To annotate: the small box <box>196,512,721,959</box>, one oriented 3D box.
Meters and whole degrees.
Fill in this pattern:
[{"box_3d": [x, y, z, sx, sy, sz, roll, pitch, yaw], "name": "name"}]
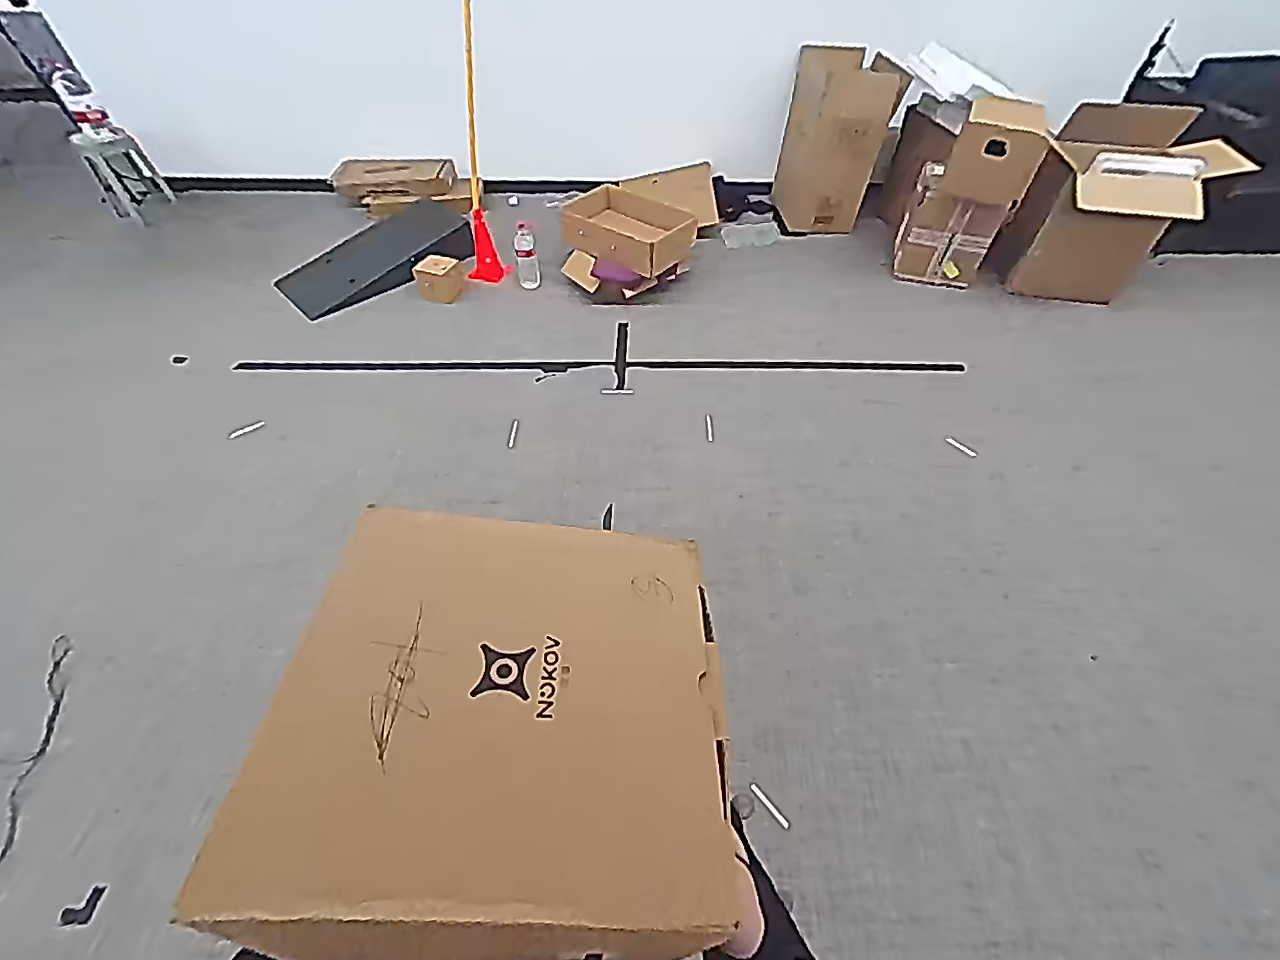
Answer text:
[{"box_3d": [-0.070, 0.141, 0.292, 0.179, 0.176, 0.168, 7, 43, -7], "name": "small box"}]
